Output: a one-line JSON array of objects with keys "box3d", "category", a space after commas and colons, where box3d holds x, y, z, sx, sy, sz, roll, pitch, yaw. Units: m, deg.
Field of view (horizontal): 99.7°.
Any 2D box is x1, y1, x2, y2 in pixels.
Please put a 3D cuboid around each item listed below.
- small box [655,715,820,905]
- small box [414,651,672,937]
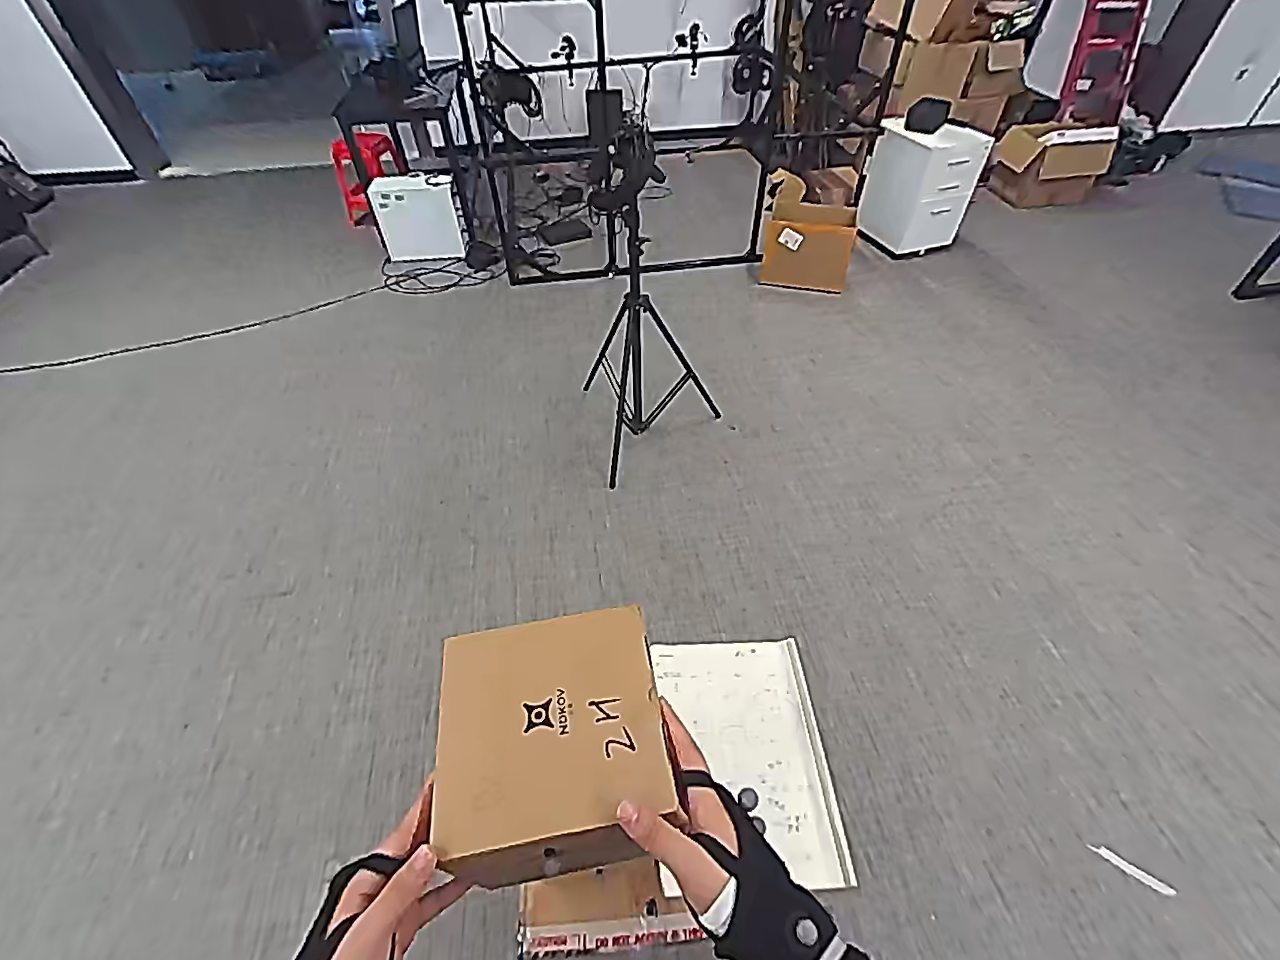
[{"box3d": [0.103, 0.414, 0.679, 0.168, 0.176, 0.179, -1, 49, -3], "category": "small box"}, {"box3d": [-0.071, 0.273, 0.468, 0.179, 0.176, 0.168, -8, 48, -5], "category": "small box"}]
